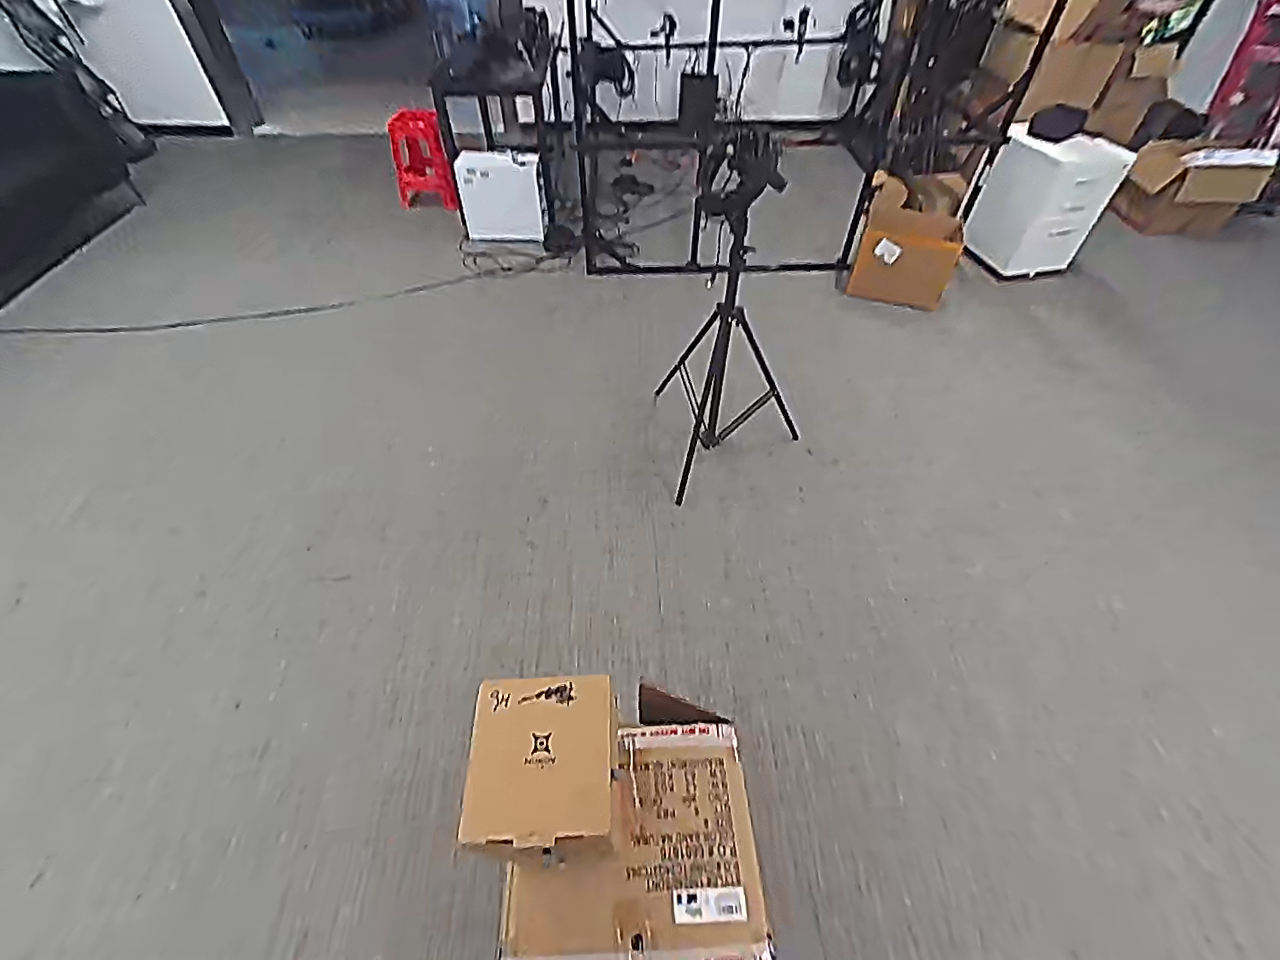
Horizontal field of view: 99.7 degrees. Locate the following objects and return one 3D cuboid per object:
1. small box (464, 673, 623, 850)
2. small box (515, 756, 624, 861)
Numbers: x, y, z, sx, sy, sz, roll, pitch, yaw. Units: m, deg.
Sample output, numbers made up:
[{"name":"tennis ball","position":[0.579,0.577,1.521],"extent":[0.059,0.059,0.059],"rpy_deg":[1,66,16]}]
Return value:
[{"name":"small box","position":[-0.110,0.366,0.694],"extent":[0.168,0.176,0.179],"rpy_deg":[-3,51,-1]},{"name":"small box","position":[-0.112,0.464,0.827],"extent":[0.168,0.176,0.179],"rpy_deg":[-4,51,-1]}]
